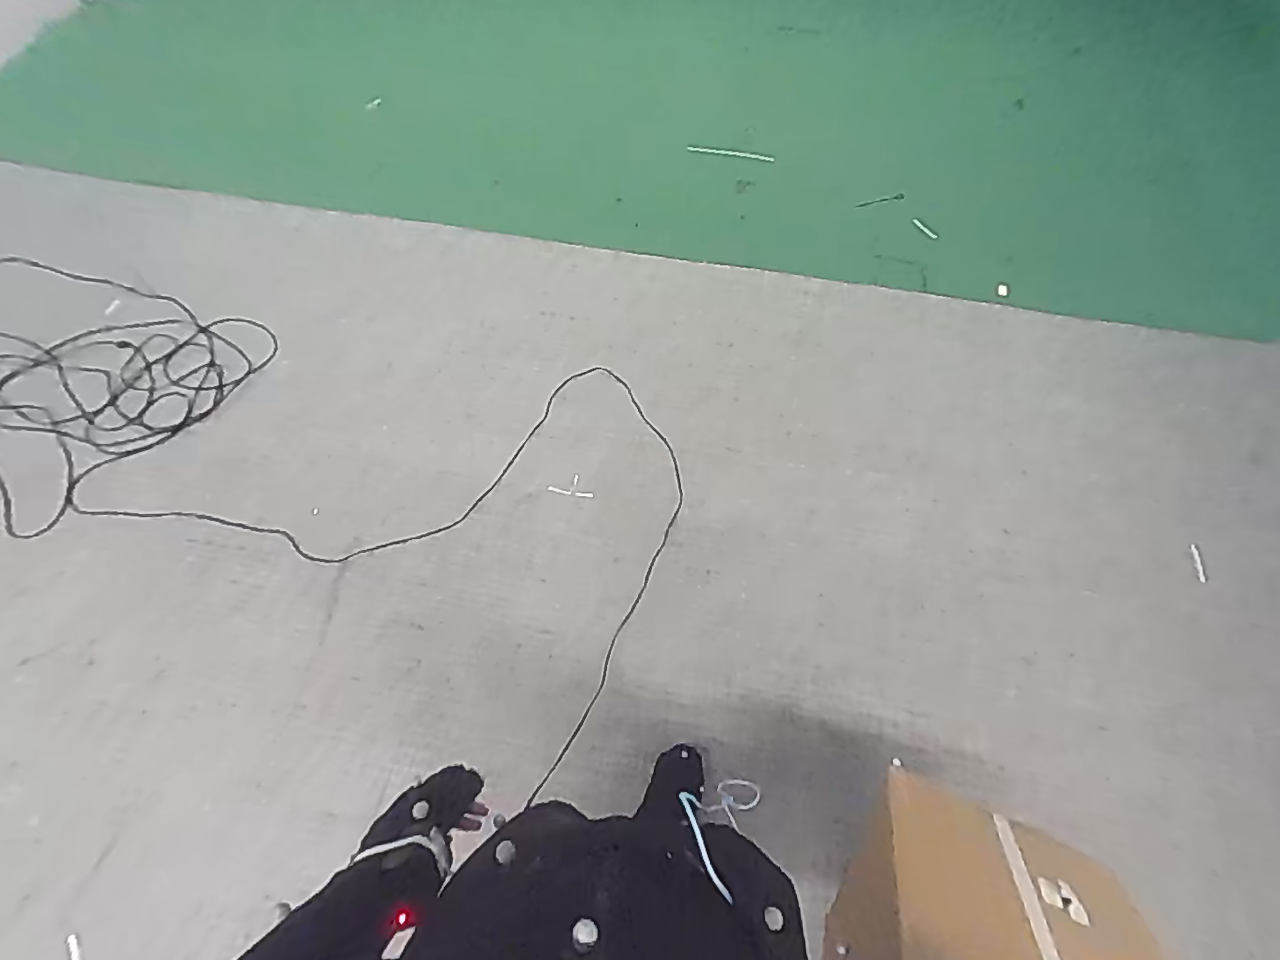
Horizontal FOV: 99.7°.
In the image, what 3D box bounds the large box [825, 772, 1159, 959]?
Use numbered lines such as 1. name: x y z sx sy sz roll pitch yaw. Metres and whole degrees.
1. large box: 0.416 0.666 0.656 0.320 0.408 0.320 20 101 19
